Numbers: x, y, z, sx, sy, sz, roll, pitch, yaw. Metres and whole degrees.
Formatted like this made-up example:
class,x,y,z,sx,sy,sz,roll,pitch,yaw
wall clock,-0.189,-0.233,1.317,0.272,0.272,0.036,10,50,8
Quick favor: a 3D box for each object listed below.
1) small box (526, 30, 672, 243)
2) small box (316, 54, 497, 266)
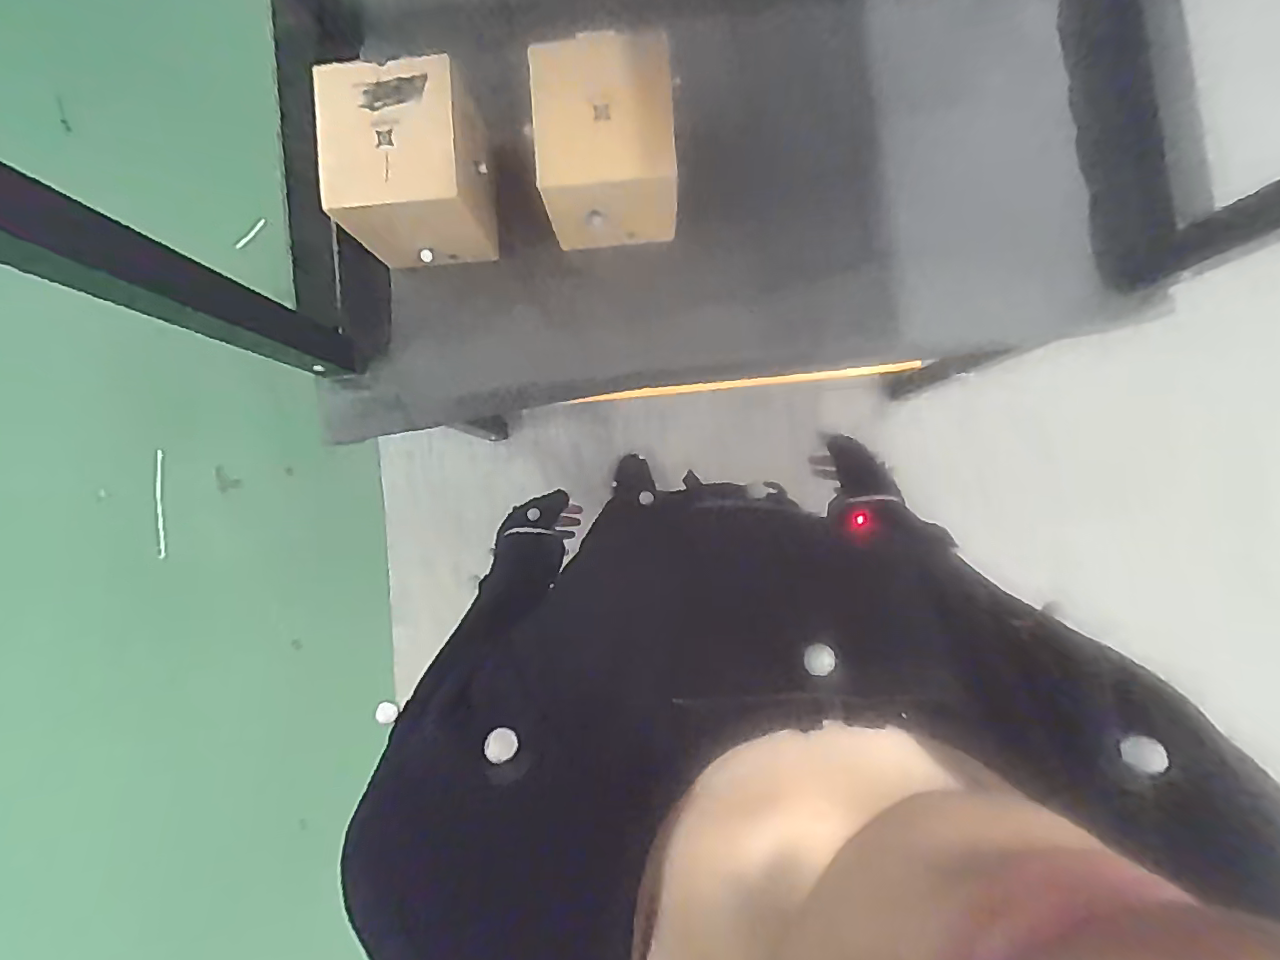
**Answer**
class,x,y,z,sx,sy,sz,roll,pitch,yaw
small box,-0.044,-0.430,0.710,0.168,0.176,0.179,-5,87,2
small box,-0.296,-0.408,0.716,0.168,0.176,0.179,-4,88,2
